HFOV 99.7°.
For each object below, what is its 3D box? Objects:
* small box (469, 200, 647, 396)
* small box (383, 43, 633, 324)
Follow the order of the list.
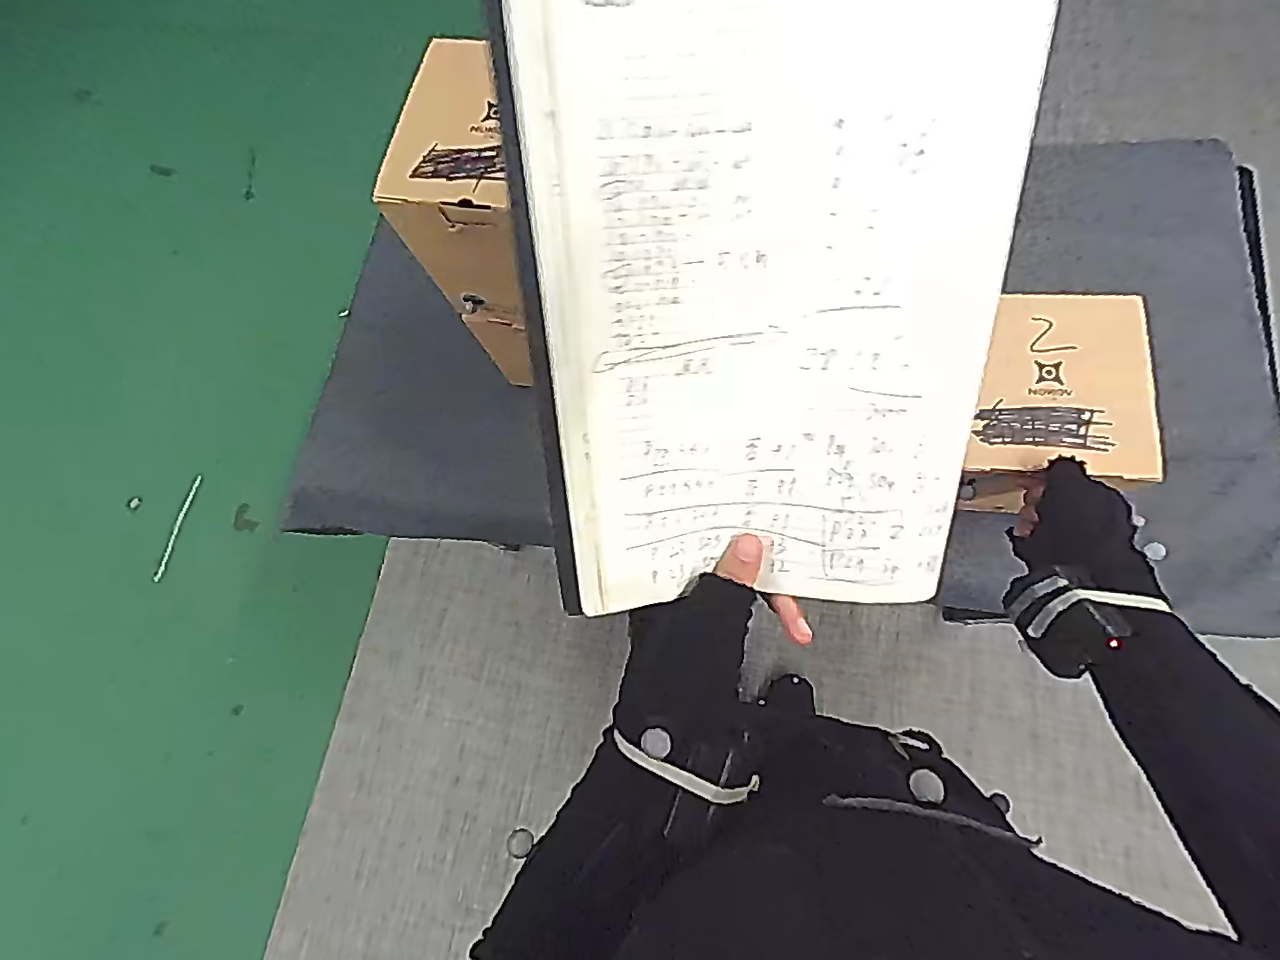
[{"bbox_3d":[-0.088,-0.227,0.684,0.168,0.176,0.179,8,75,9],"label":"small box"},{"bbox_3d":[-0.107,-0.276,0.528,0.168,0.176,0.179,10,75,9],"label":"small box"}]
